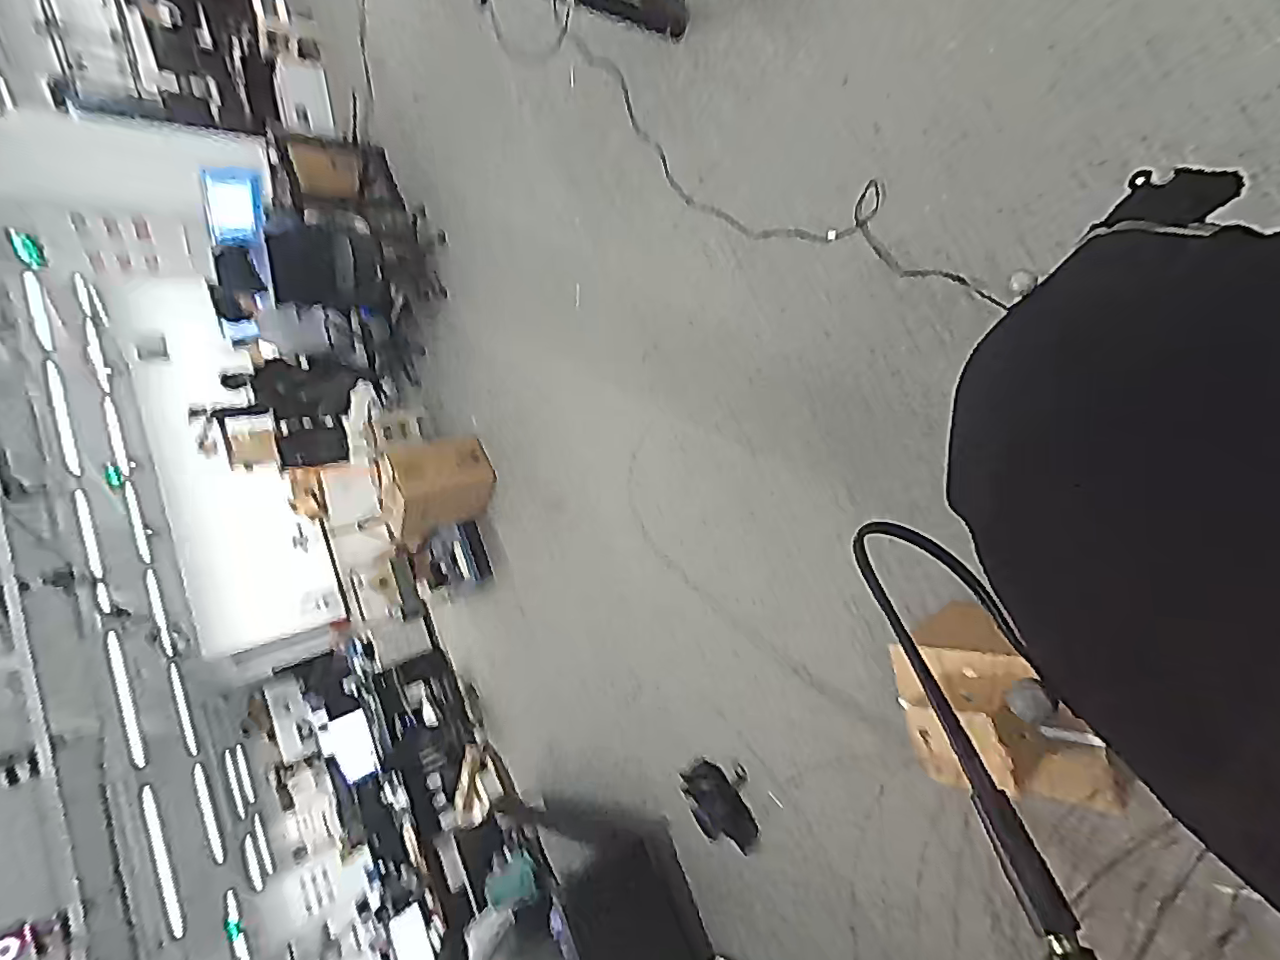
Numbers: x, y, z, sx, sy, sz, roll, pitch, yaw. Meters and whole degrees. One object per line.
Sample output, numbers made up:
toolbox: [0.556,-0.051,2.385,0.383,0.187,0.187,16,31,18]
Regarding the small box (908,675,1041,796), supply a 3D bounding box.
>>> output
small box: [0.711,0.526,1.143,0.179,0.176,0.168,-23,83,53]
